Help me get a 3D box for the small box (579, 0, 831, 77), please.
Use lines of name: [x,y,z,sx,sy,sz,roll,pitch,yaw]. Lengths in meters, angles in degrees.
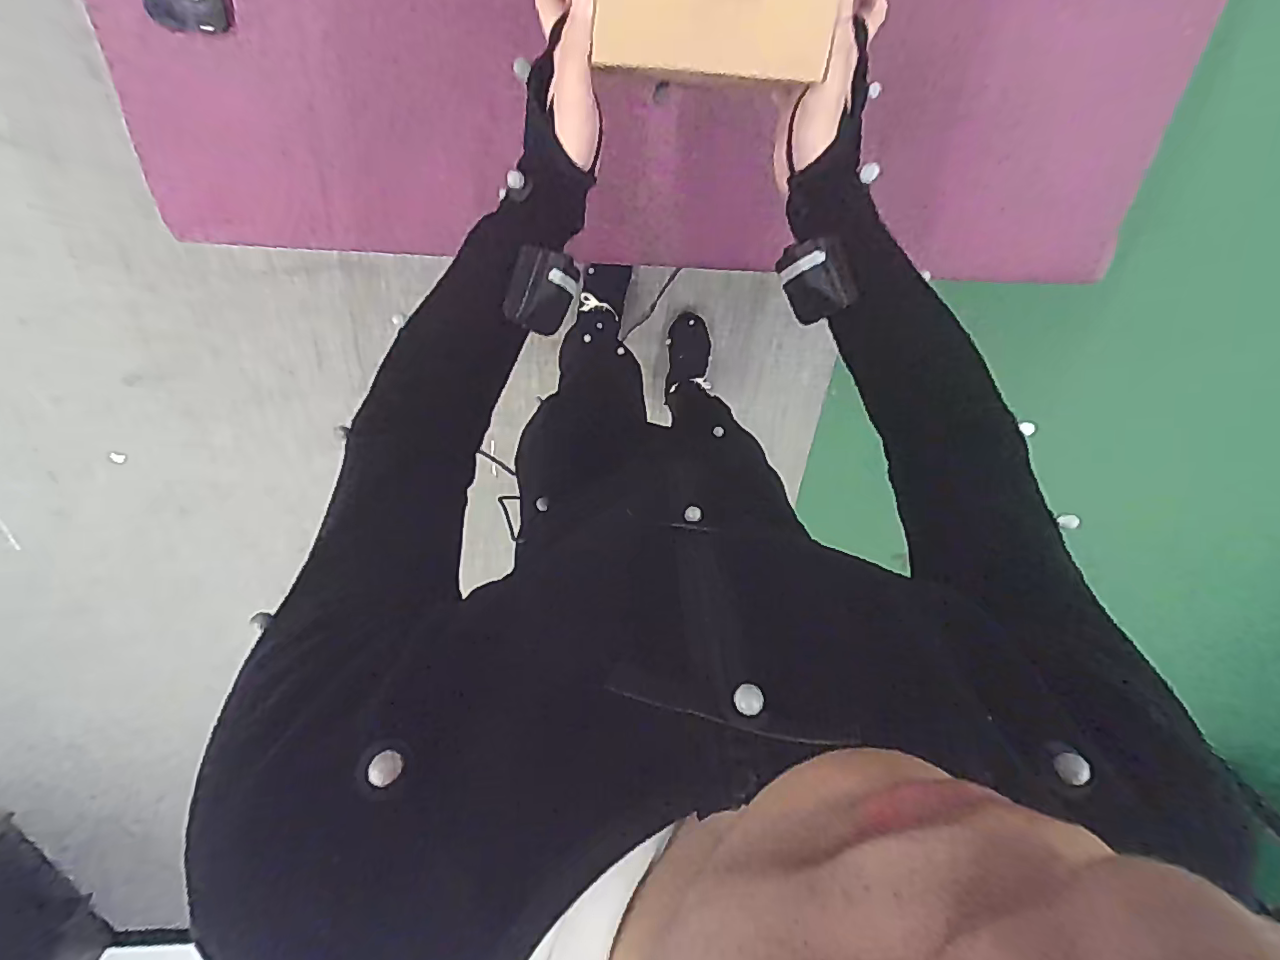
small box: [0.042,-0.406,0.382,0.168,0.176,0.179,1,124,-6]
